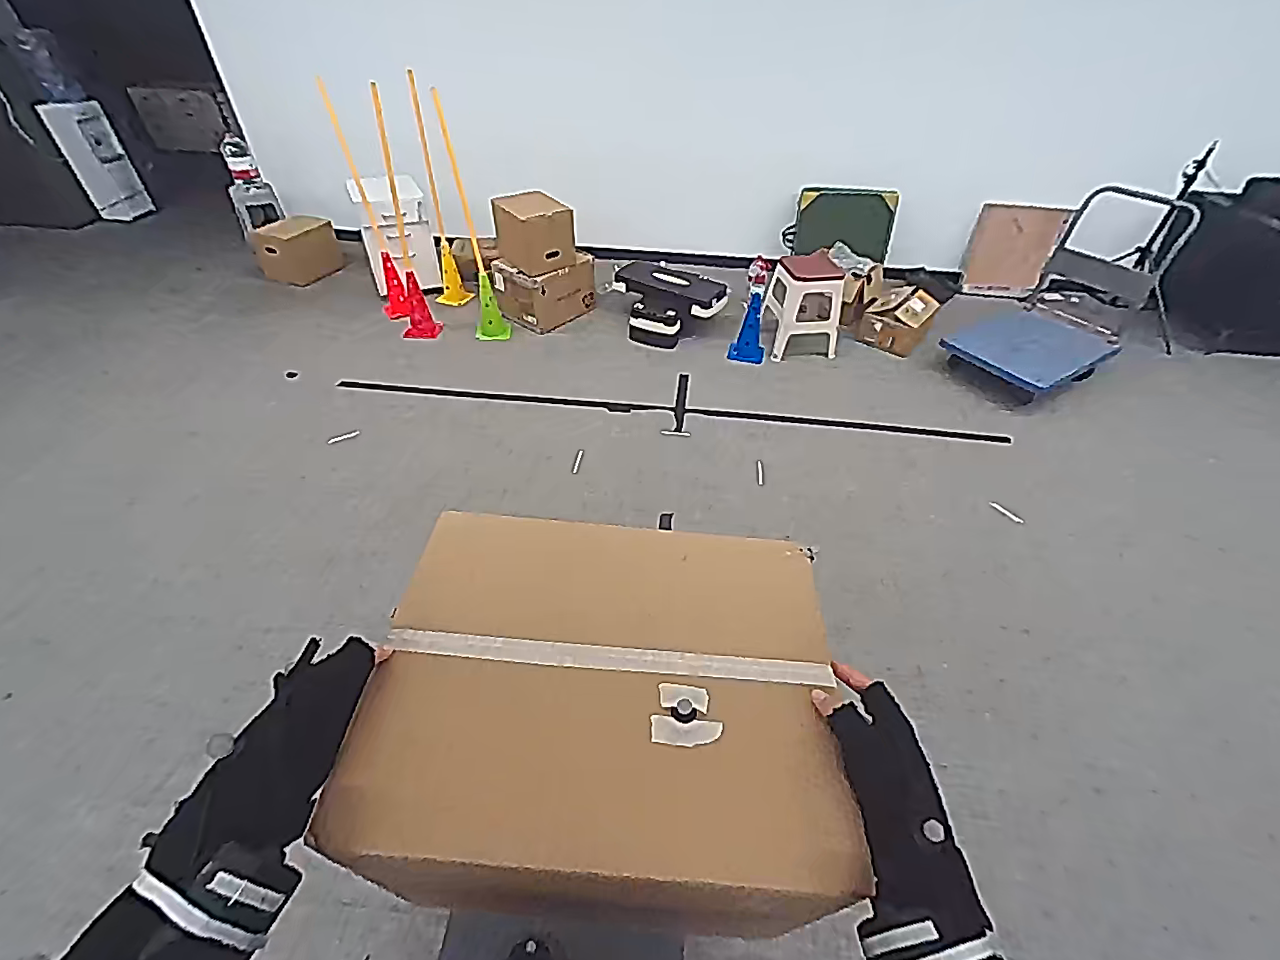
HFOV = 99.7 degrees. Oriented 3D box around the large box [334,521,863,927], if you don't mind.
[{"bbox_3d":[-0.034,0.274,0.607,0.408,0.320,0.320,6,45,0],"label":"large box"}]
